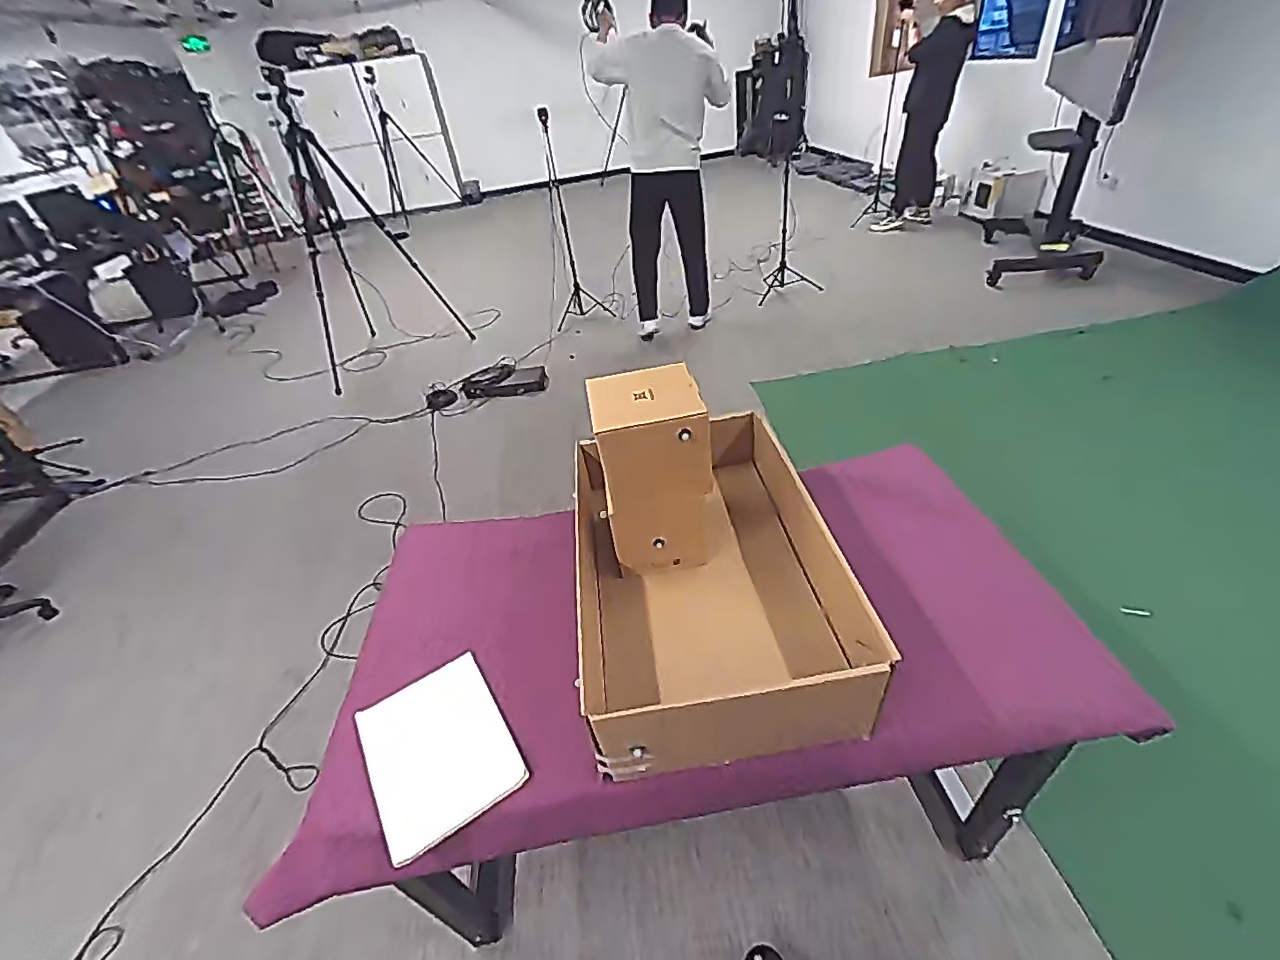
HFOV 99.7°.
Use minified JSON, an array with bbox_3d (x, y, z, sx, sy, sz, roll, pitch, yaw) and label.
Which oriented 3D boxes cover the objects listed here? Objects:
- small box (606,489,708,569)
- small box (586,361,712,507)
[{"bbox_3d":[0.030,0.049,1.009,0.168,0.176,0.179,-9,40,0],"label":"small box"},{"bbox_3d":[0.015,-0.074,0.904,0.179,0.176,0.168,-11,40,-2],"label":"small box"}]
